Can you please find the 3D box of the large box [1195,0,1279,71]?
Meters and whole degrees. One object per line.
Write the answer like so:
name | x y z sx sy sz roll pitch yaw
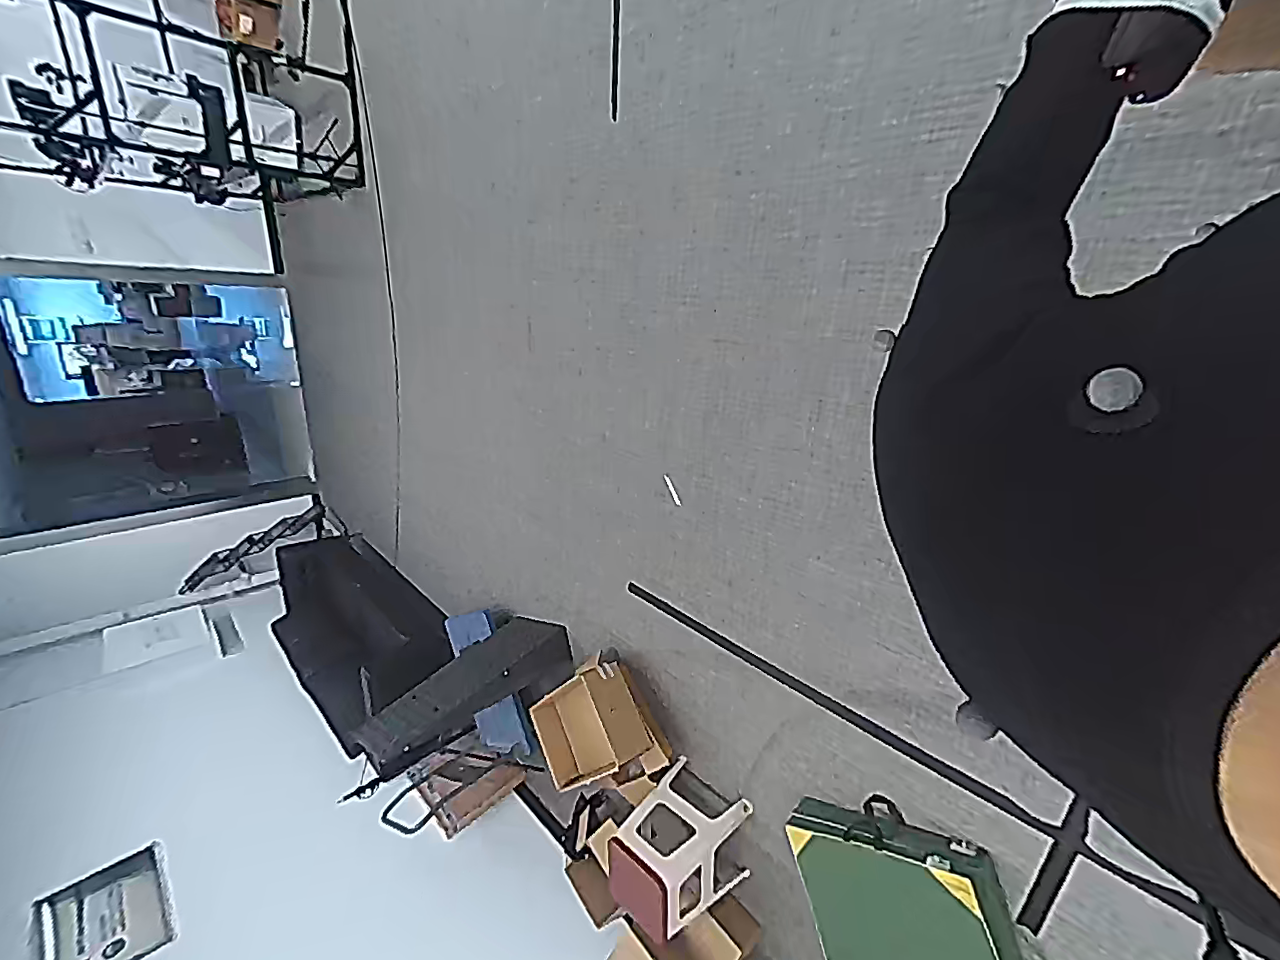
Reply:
large box | 0.606 -0.441 0.258 0.408 0.320 0.320 25 122 36
